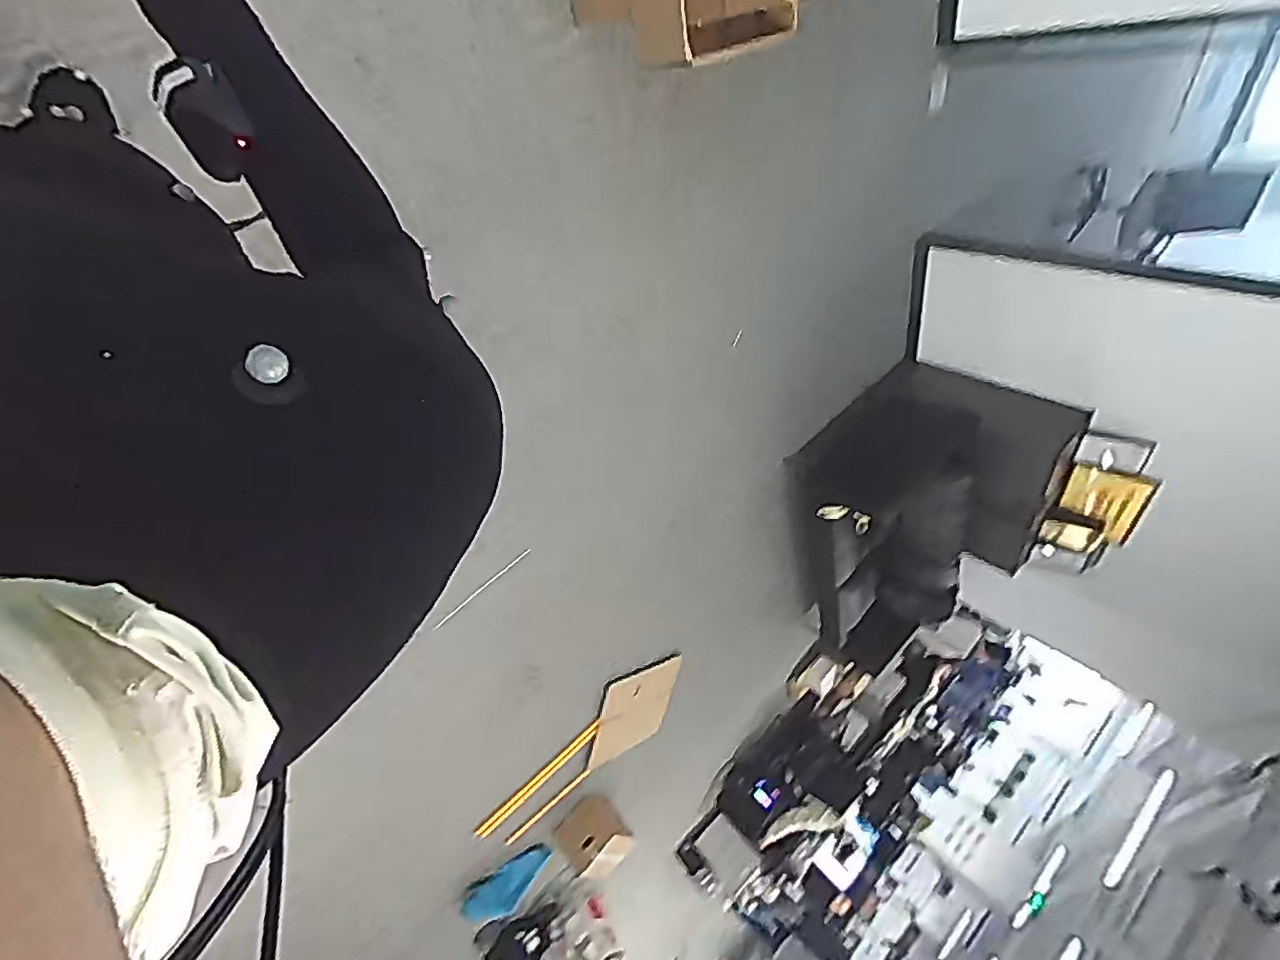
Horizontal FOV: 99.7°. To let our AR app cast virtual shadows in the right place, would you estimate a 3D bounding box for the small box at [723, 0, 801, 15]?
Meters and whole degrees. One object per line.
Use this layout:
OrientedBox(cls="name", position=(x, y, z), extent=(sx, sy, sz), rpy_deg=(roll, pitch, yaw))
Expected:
OrientedBox(cls="small box", position=(0.286, -1.117, 1.150), extent=(0.179, 0.176, 0.168), rpy_deg=(-36, 137, -24))
